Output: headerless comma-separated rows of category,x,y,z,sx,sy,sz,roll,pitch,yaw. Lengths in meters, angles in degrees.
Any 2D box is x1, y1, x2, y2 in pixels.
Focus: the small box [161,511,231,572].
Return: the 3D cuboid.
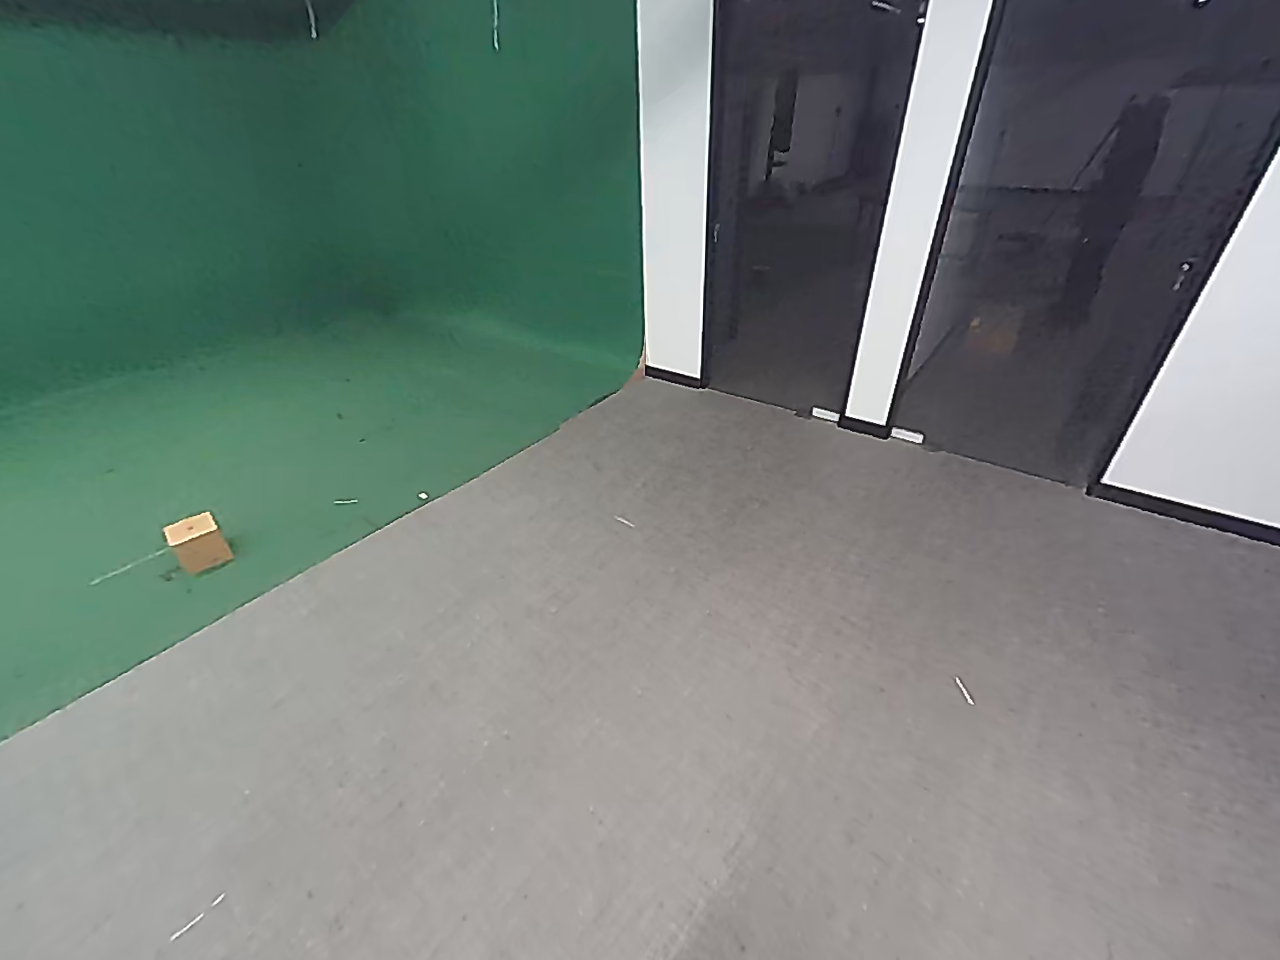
small box,-1.868,0.266,2.281,0.179,0.176,0.168,28,43,37
